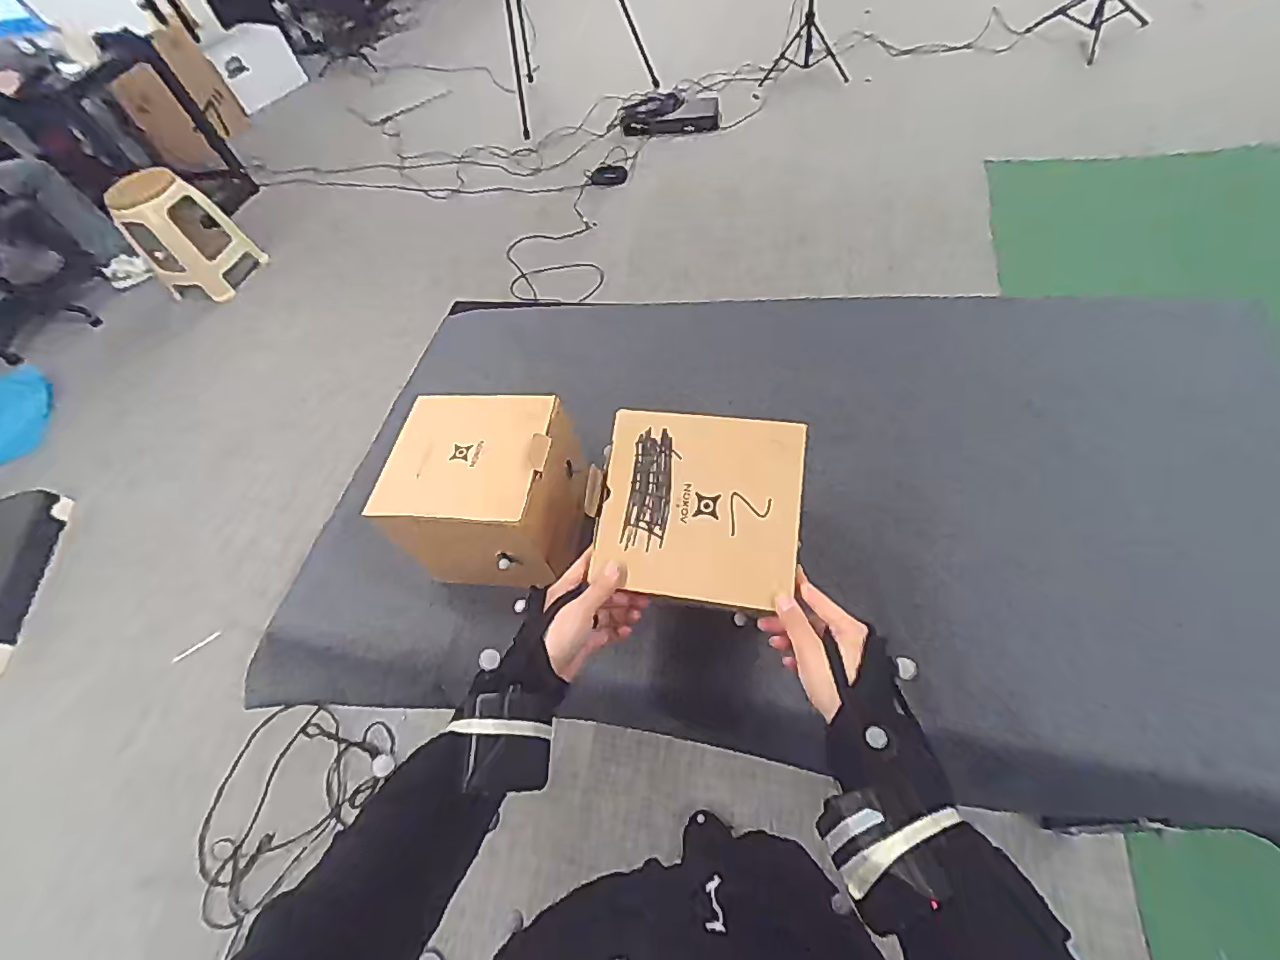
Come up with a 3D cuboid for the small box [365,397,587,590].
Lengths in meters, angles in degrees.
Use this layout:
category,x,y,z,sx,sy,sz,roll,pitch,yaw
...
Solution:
category,x,y,z,sx,sy,sz,roll,pitch,yaw
small box,-0.171,0.020,0.636,0.179,0.176,0.168,0,55,12
